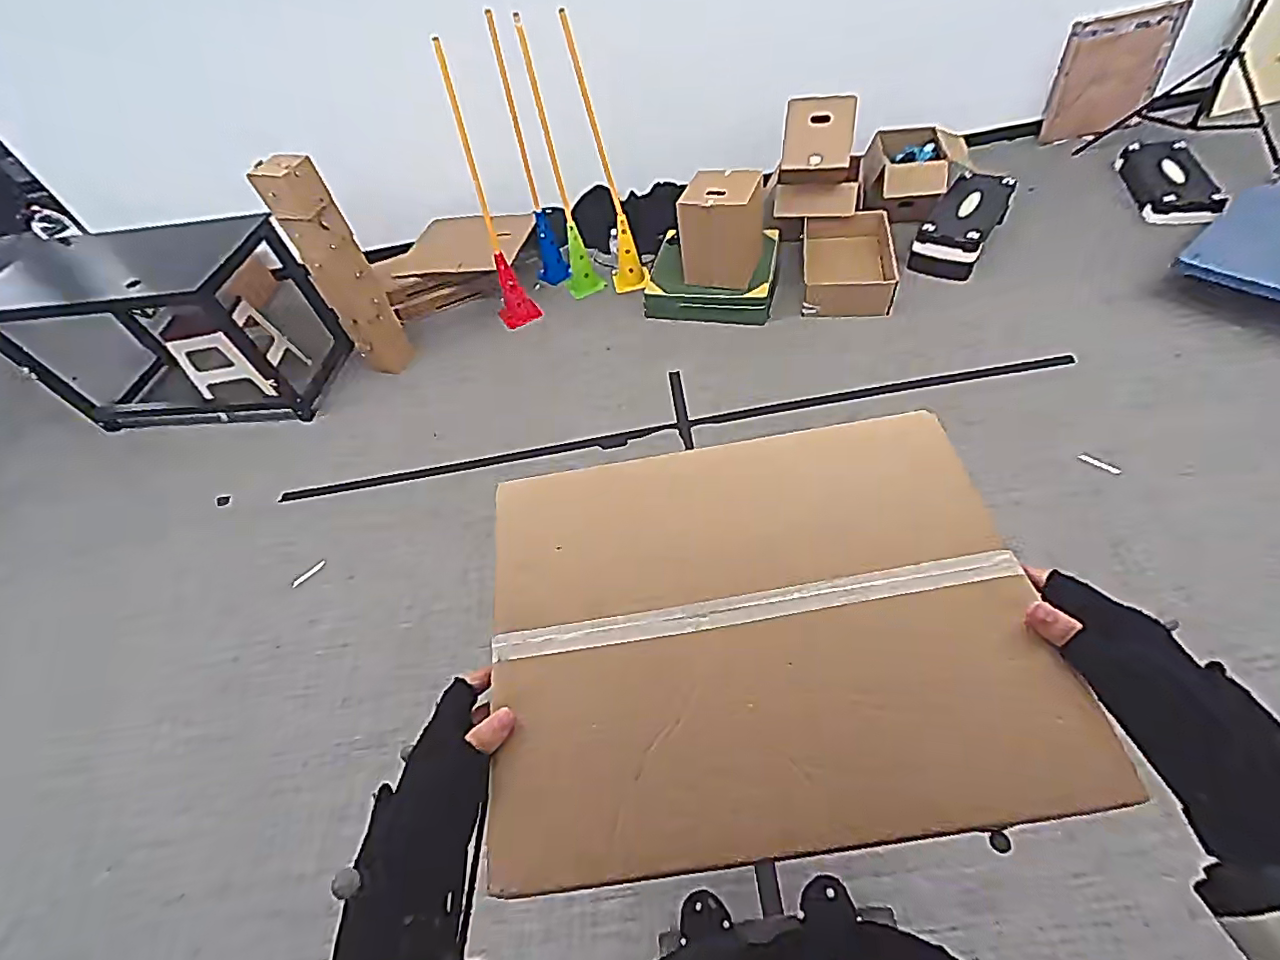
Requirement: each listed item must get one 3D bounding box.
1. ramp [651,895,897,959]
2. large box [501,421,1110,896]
[{"bbox_3d":[0.322,1.339,0.911,0.509,0.206,0.991,-9,52,0],"label":"ramp"},{"bbox_3d":[0.103,0.183,0.549,0.408,0.320,0.320,-10,56,1],"label":"large box"}]
